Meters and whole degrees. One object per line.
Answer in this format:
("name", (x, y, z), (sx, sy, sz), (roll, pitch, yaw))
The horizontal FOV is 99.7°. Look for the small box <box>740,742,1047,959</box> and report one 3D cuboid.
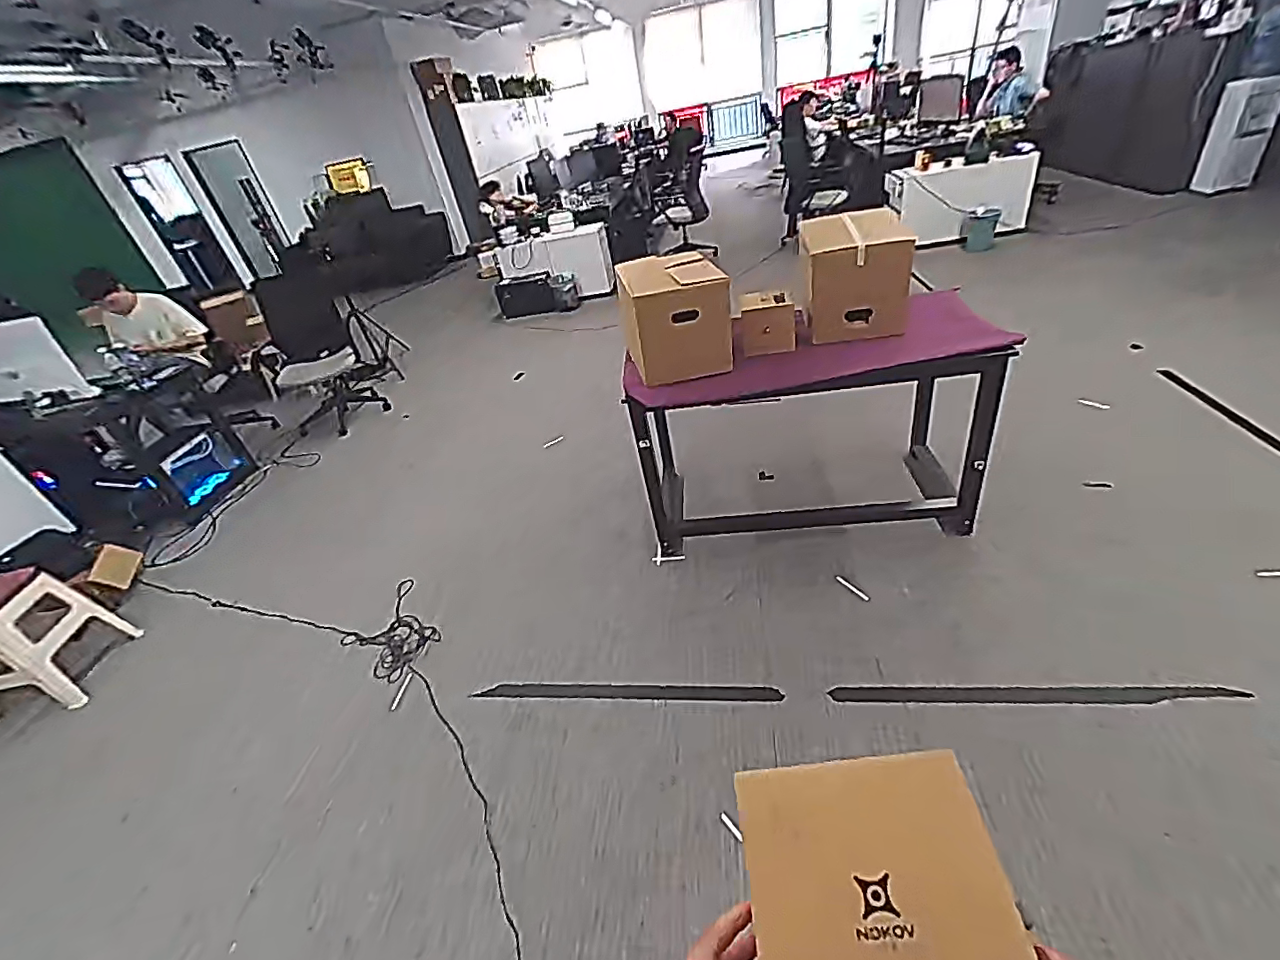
("small box", (0.172, 0.321, 0.404), (0.168, 0.176, 0.179), (-10, 46, 7))
